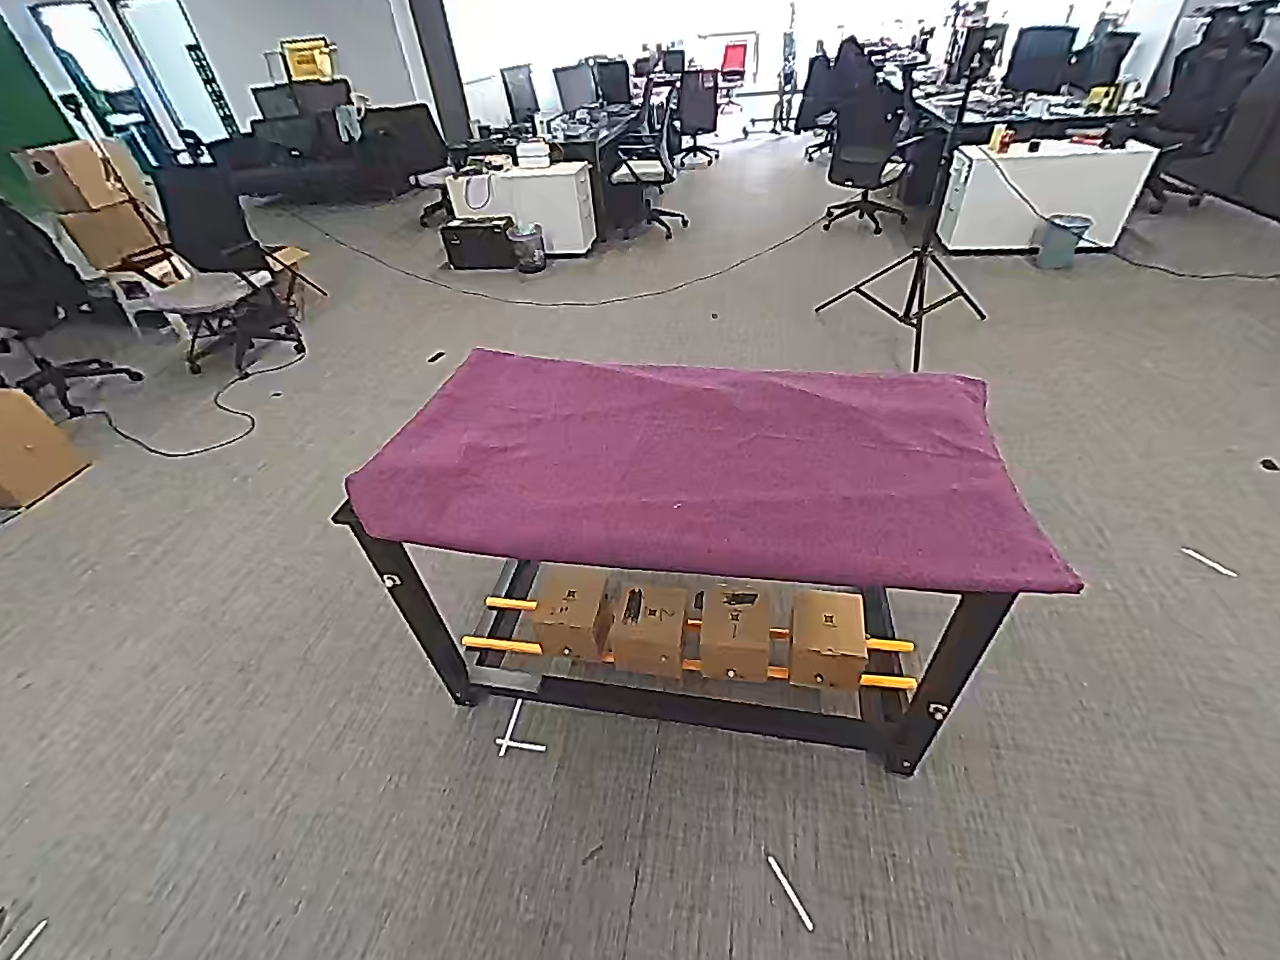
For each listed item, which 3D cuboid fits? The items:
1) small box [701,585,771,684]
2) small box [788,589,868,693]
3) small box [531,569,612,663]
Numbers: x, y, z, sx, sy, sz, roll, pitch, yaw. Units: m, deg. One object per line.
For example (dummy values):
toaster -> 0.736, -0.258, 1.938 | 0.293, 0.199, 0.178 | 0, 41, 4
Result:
small box -> 0.243, 0.394, 1.382 | 0.168, 0.176, 0.179 | 2, 44, 10
small box -> 0.461, 0.399, 1.345 | 0.168, 0.176, 0.179 | 4, 43, 13
small box -> -0.176, 0.366, 1.460 | 0.168, 0.176, 0.179 | 4, 43, 11
